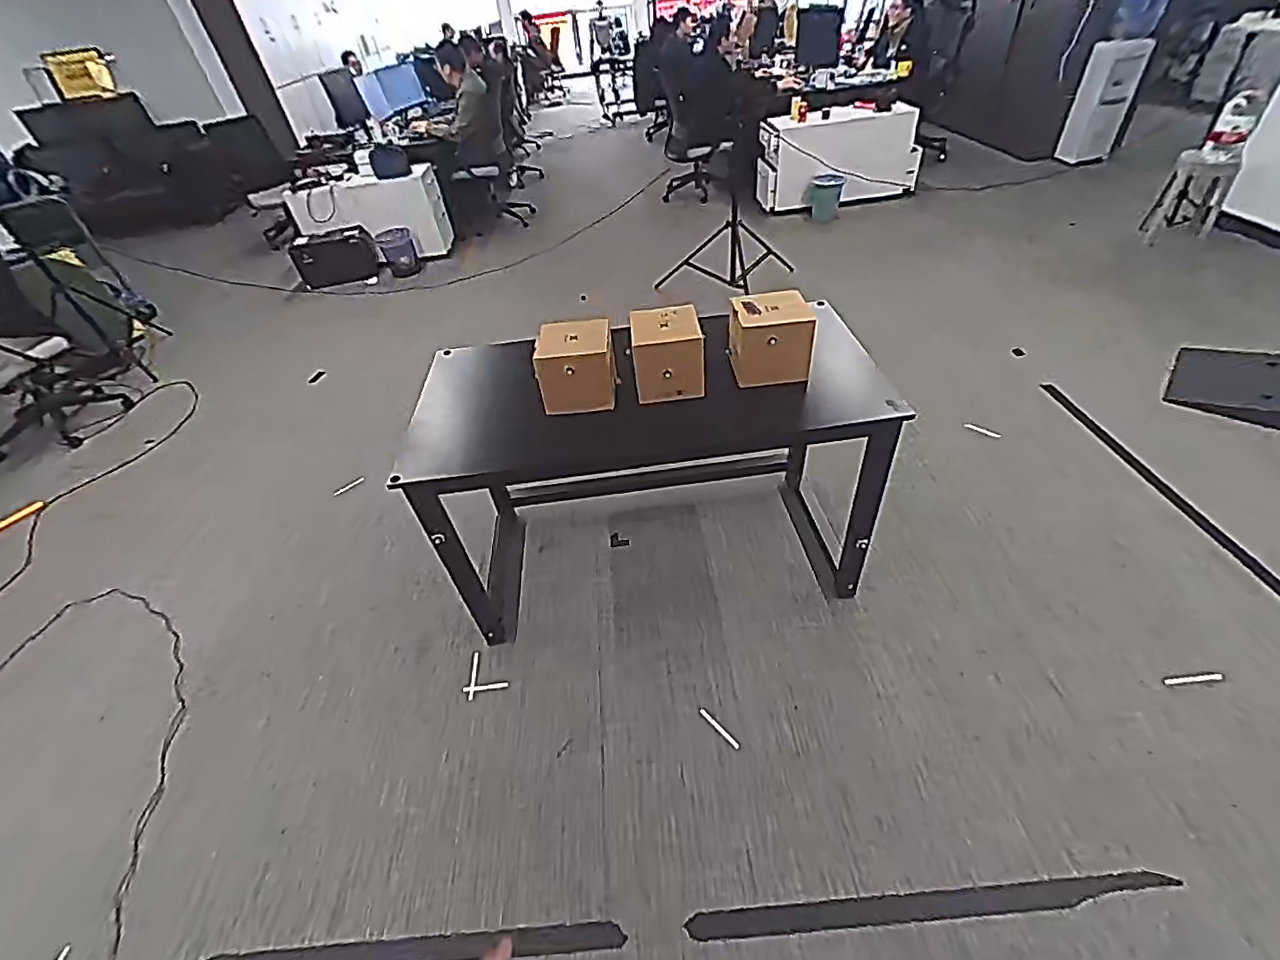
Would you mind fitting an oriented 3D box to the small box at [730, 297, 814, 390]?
[{"bbox_3d":[0.329,-0.343,1.375,0.179,0.176,0.168,-6,42,2],"label":"small box"}]

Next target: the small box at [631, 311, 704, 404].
[{"bbox_3d":[0.071,-0.304,1.372,0.168,0.176,0.179,-6,43,1],"label":"small box"}]
